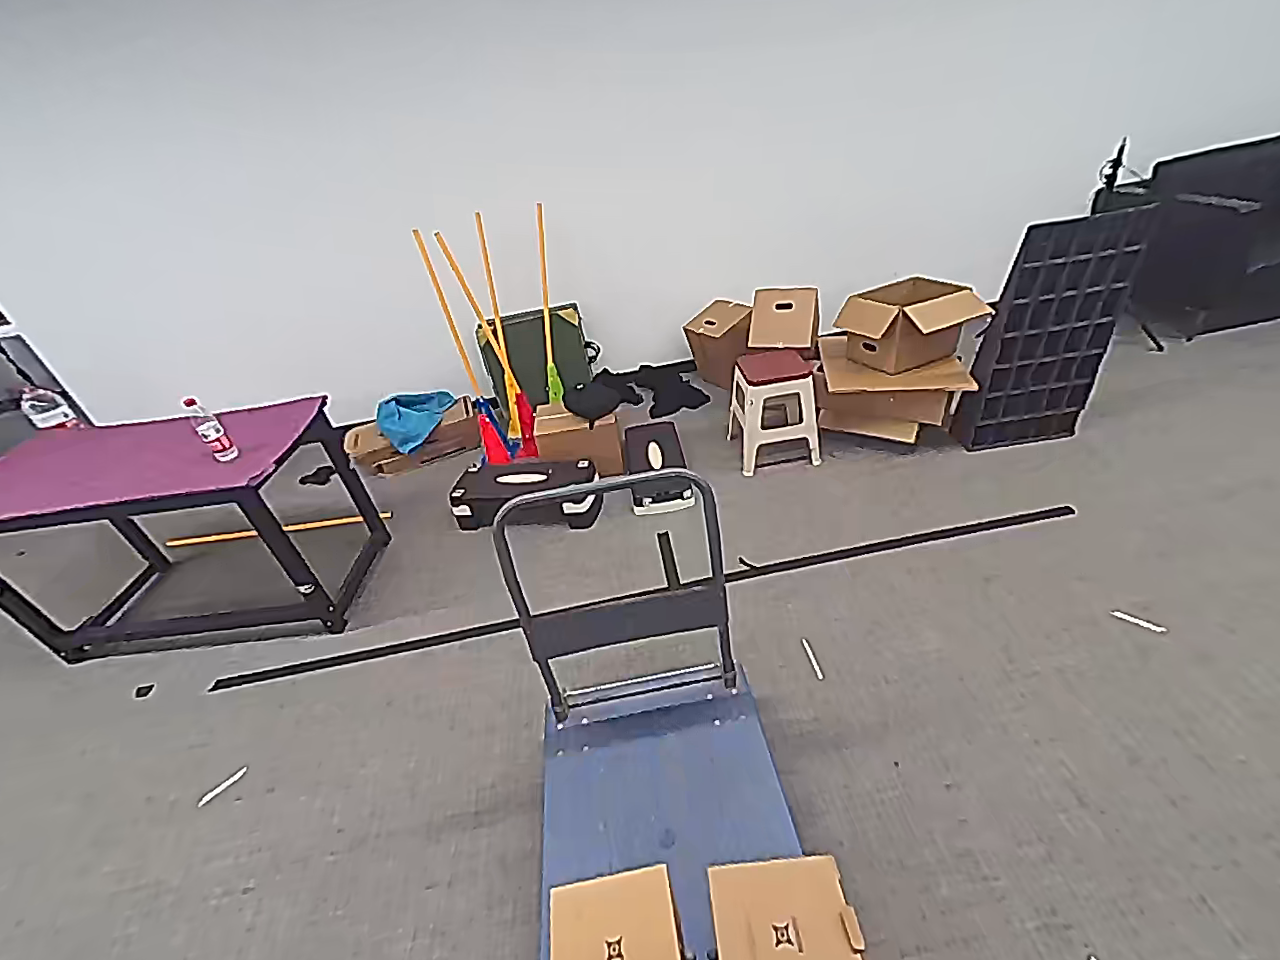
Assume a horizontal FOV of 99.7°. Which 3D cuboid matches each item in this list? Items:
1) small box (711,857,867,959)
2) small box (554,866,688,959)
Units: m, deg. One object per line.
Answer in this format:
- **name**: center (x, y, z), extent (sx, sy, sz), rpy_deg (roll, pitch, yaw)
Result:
- **small box**: center (0.195, 0.635, 0.720), extent (0.179, 0.176, 0.168), rpy_deg (-8, 34, 3)
- **small box**: center (-0.019, 0.666, 0.727), extent (0.168, 0.176, 0.179), rpy_deg (-11, 35, -2)
